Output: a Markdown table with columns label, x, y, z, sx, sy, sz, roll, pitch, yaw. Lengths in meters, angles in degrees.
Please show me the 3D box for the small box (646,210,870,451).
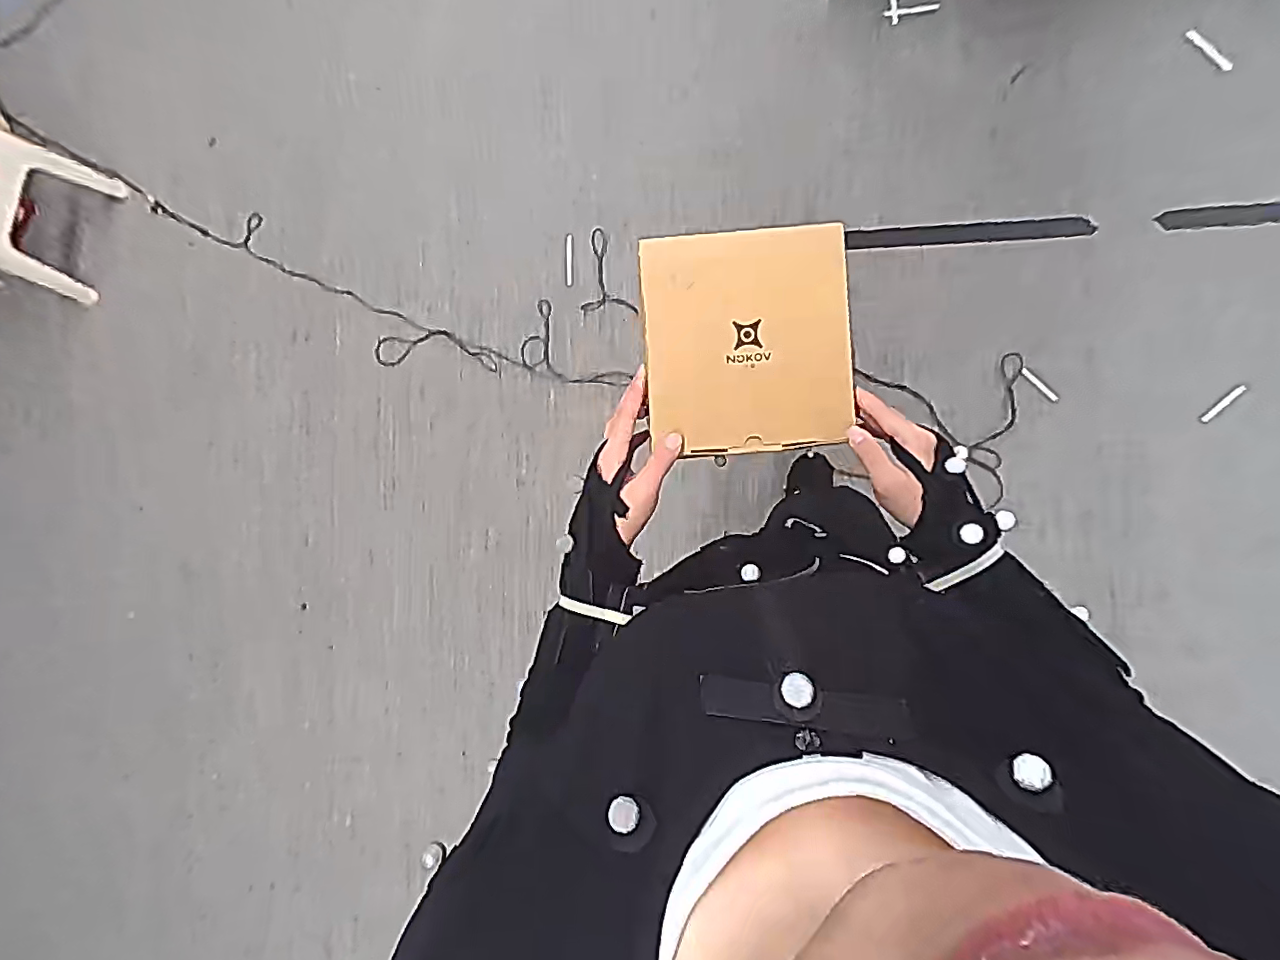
| label | x | y | z | sx | sy | sz | roll | pitch | yaw |
| --- | --- | --- | --- | --- | --- | --- | --- | --- | --- |
| small box | 0.094 | -0.121 | 0.502 | 0.168 | 0.176 | 0.179 | -4 | 92 | 0 |
